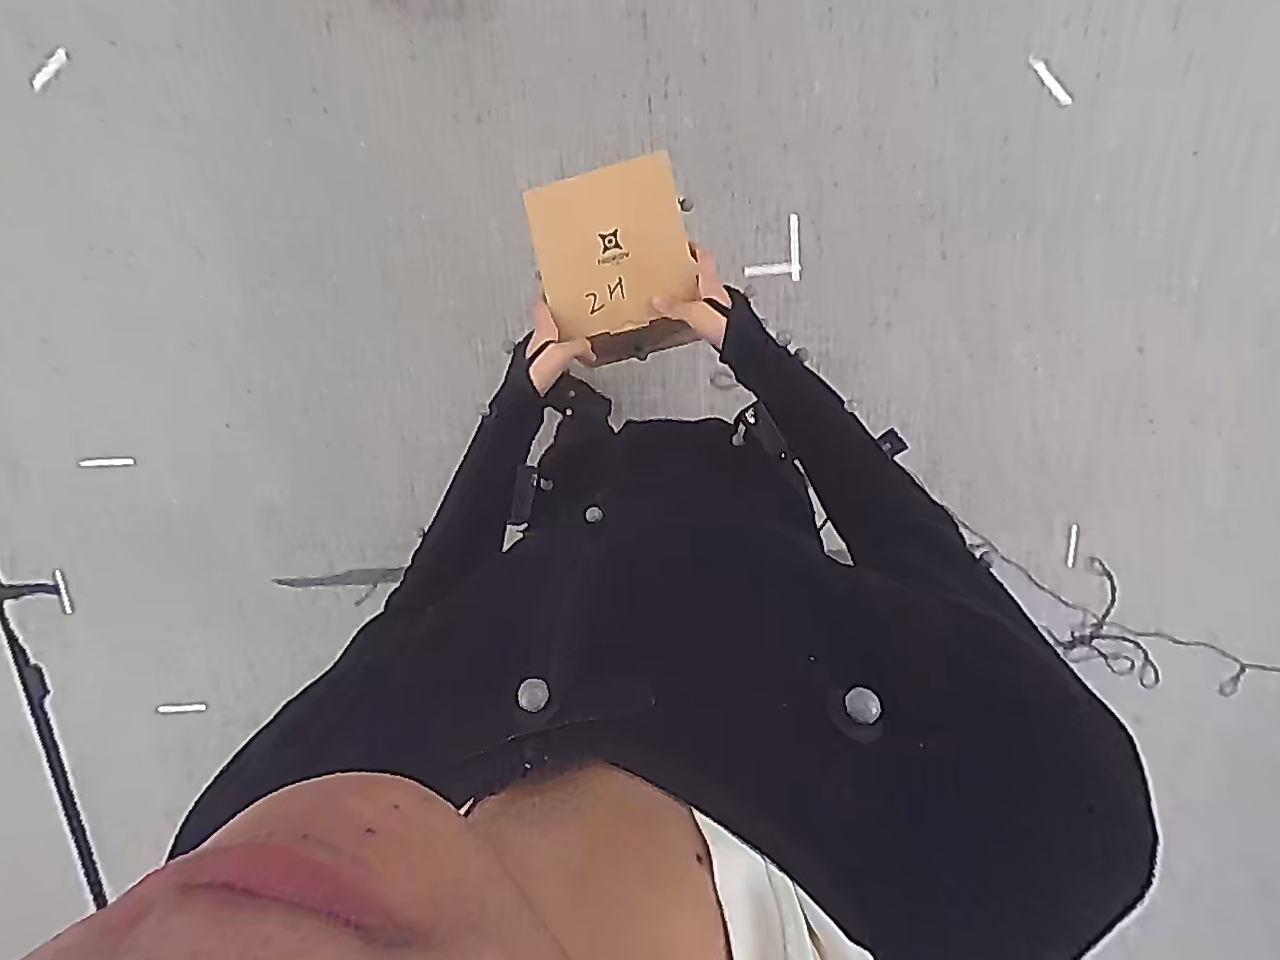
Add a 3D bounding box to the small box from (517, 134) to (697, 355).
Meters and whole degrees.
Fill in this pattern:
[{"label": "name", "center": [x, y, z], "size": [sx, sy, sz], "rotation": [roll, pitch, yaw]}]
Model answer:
[{"label": "small box", "center": [-0.029, -0.266, 0.654], "size": [0.168, 0.176, 0.179], "rotation": [-13, 92, 7]}]
